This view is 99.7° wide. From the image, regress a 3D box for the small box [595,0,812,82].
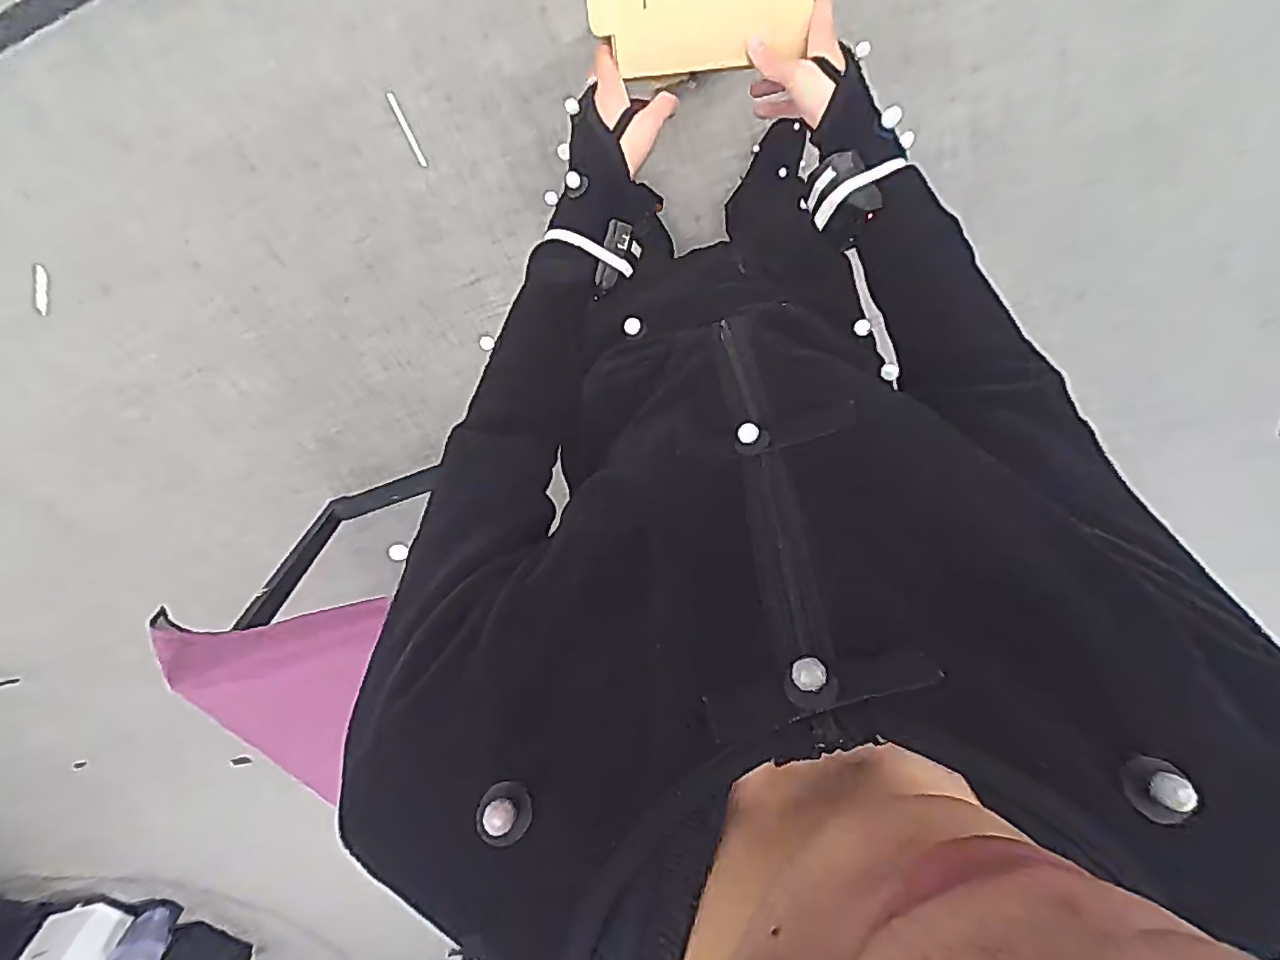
[{"bbox_3d":[0.046,-0.474,0.491,0.179,0.176,0.168,-9,126,-3],"label":"small box"}]
